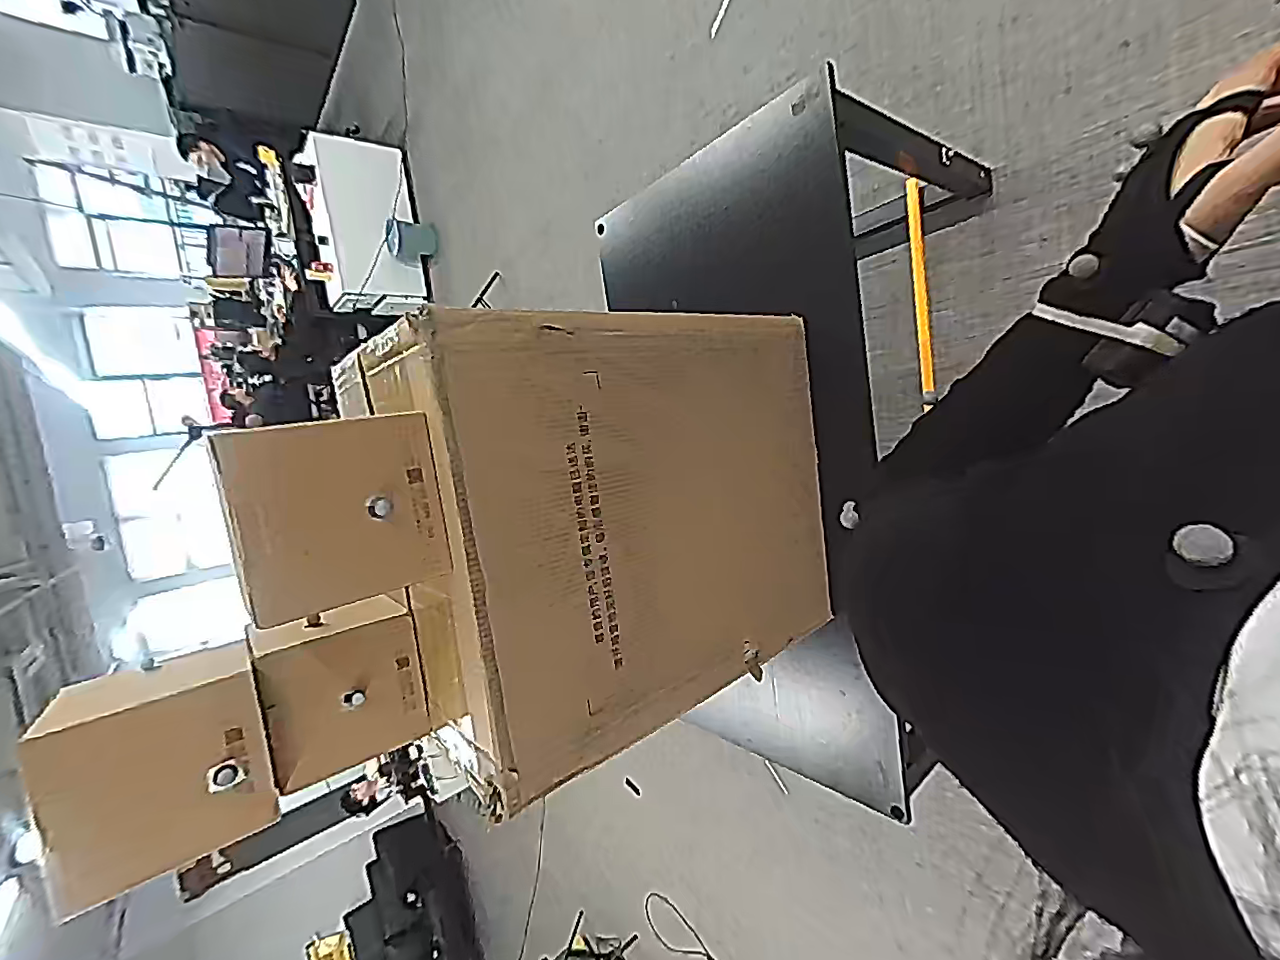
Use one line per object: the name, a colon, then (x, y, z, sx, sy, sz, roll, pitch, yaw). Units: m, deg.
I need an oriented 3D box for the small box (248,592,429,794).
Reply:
small box: (-0.387, 0.256, 0.704, 0.179, 0.176, 0.168, 0, 99, 51)

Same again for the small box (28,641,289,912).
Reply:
small box: (-0.491, 0.286, 0.577, 0.179, 0.176, 0.168, -5, 97, 52)

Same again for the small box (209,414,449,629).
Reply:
small box: (-0.313, 0.026, 0.550, 0.179, 0.176, 0.168, 4, 104, 50)
